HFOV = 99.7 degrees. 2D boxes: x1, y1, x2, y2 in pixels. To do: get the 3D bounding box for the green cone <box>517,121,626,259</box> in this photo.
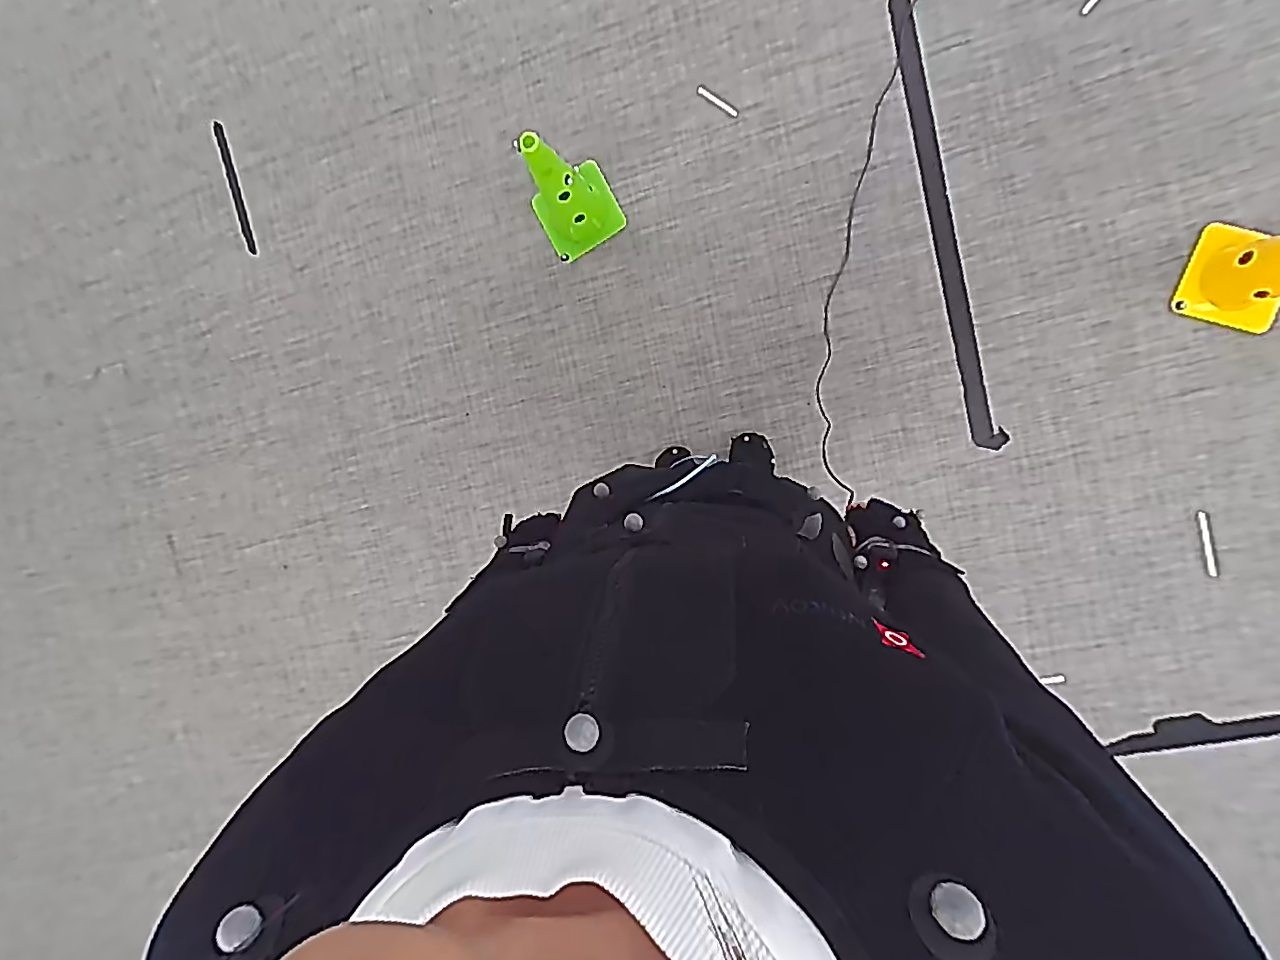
[{"bbox_3d":[-0.188,-0.696,1.240,0.200,0.368,0.202,-29,88,10],"label":"green cone"}]
